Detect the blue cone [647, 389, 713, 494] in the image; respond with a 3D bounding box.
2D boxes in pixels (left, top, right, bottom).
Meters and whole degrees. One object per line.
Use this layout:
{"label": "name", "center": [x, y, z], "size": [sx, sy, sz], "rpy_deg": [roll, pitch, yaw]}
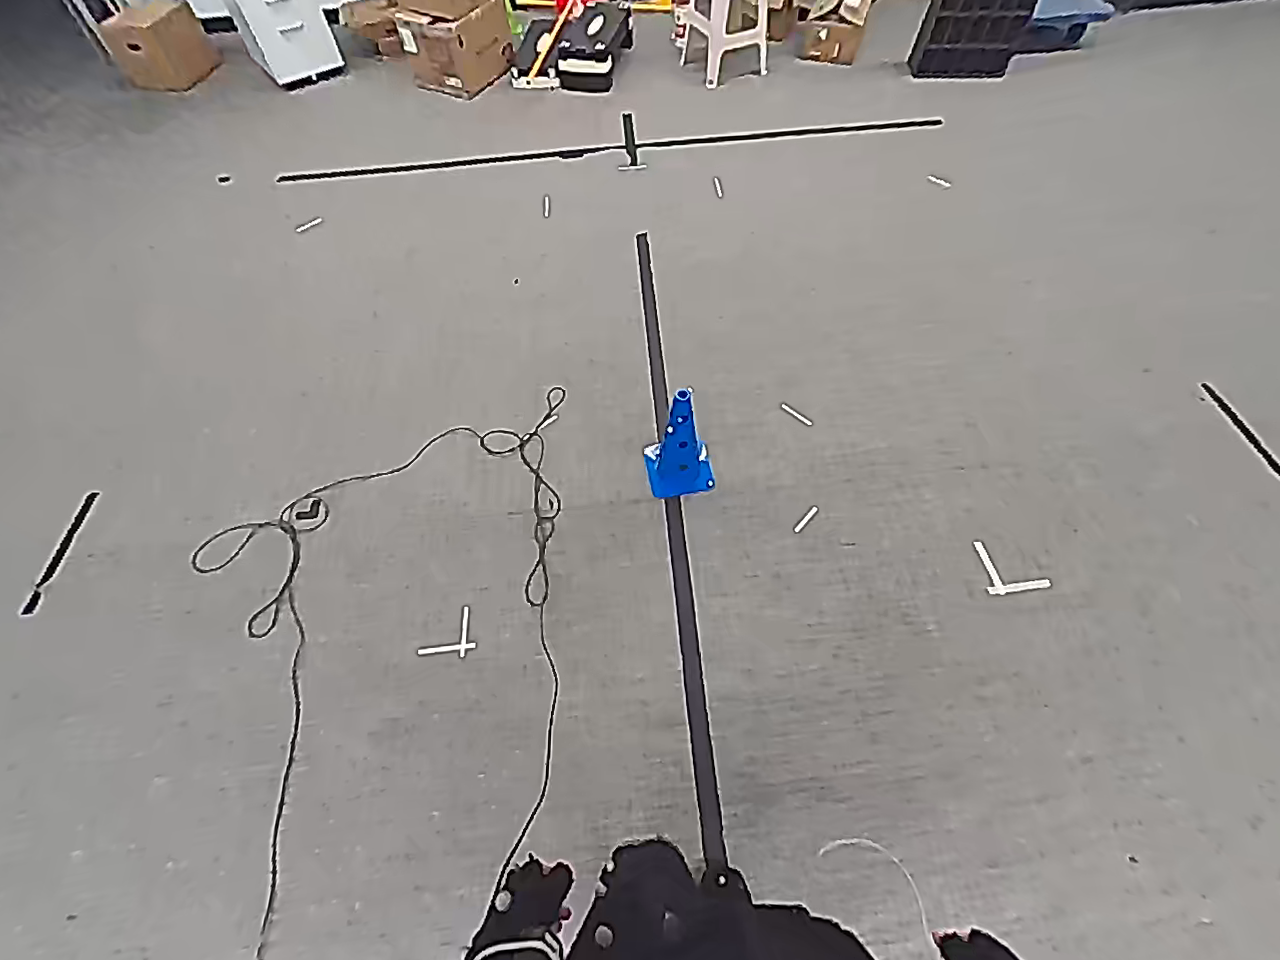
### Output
{"label": "blue cone", "center": [0.120, -0.128, 1.577], "size": [0.192, 0.380, 0.193], "rpy_deg": [-7, 59, -4]}
